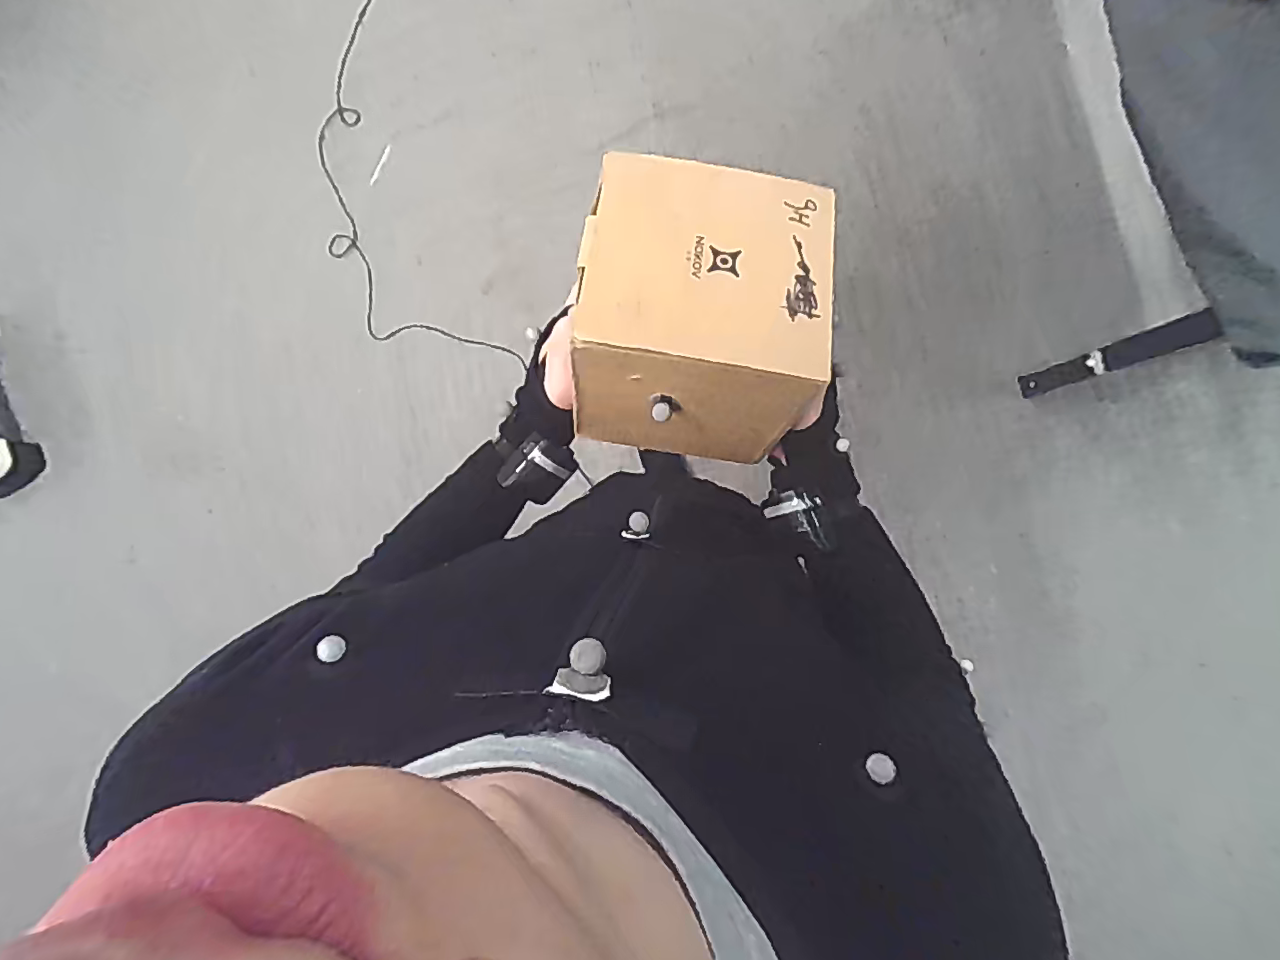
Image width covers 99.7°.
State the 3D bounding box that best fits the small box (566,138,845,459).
[{"bbox_3d":[0.044,-0.128,0.433,0.179,0.176,0.168,9,71,-2],"label":"small box"}]
